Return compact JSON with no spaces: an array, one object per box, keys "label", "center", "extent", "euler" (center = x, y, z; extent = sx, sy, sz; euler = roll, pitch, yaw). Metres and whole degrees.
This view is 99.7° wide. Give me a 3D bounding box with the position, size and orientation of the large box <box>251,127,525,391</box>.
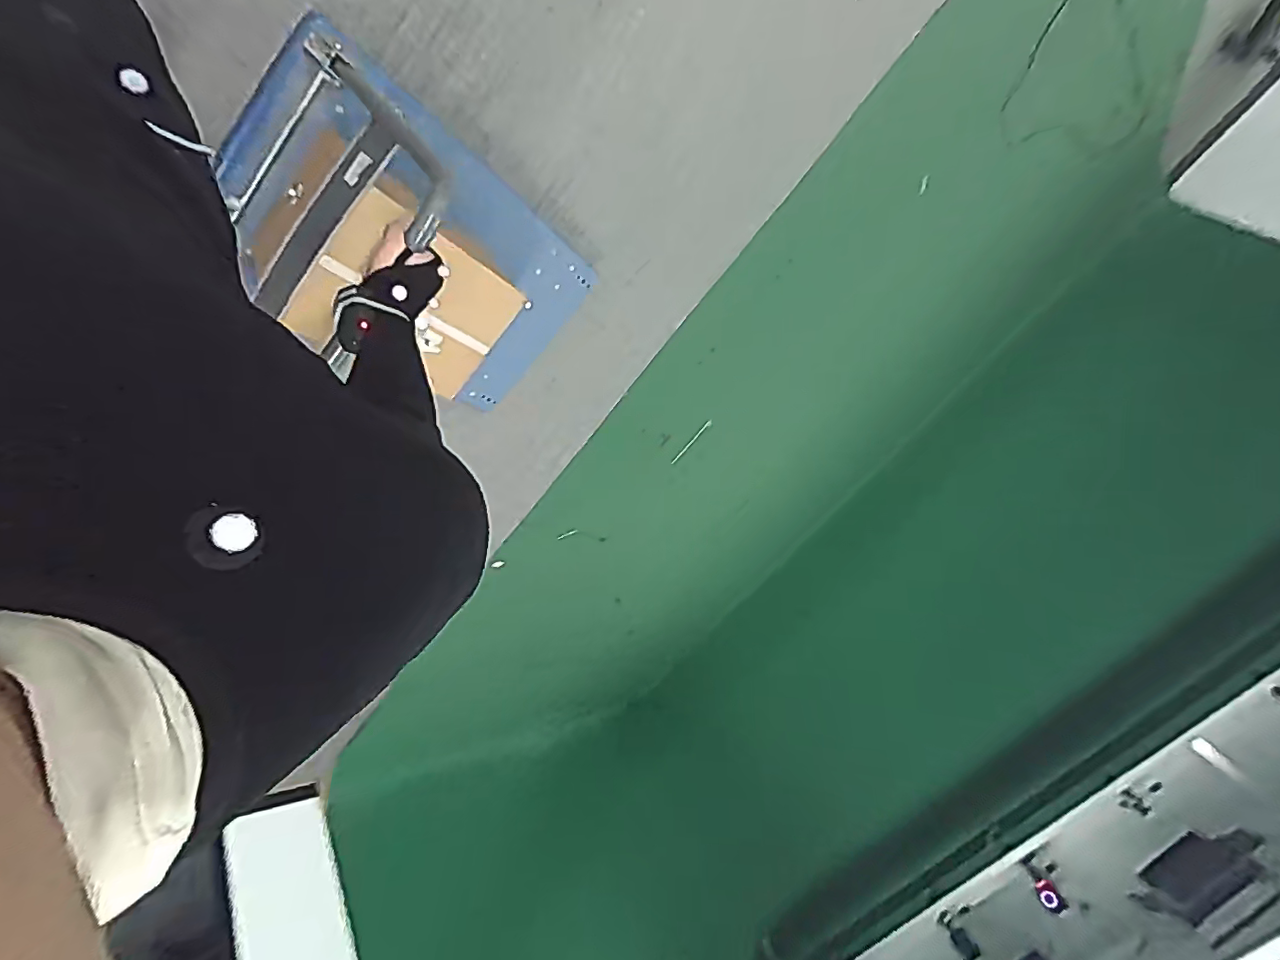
[{"label":"large box","center":[-0.547,-0.463,1.188],"extent":[0.320,0.320,0.408],"euler":[-47,147,14]}]
